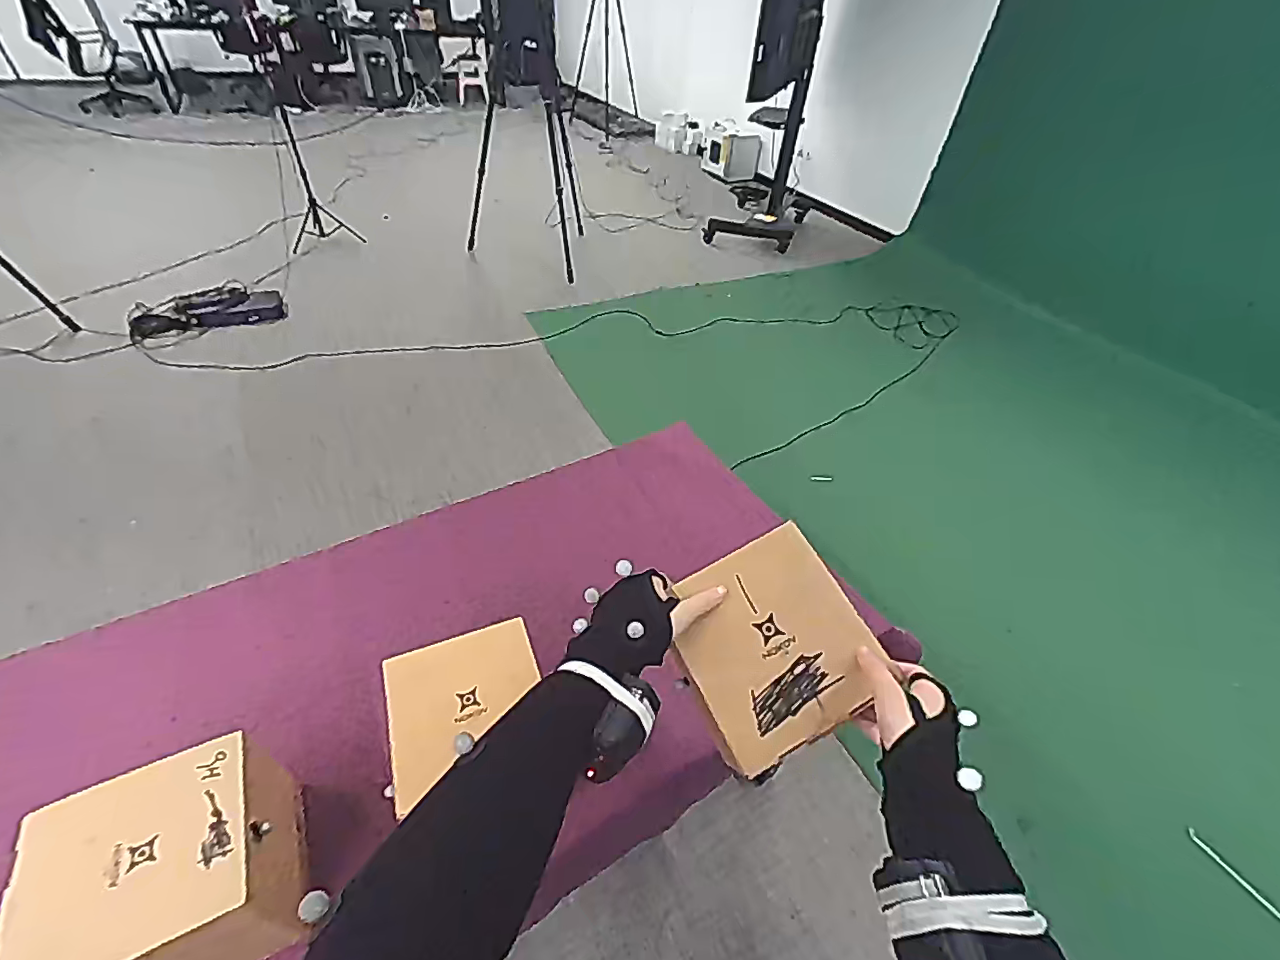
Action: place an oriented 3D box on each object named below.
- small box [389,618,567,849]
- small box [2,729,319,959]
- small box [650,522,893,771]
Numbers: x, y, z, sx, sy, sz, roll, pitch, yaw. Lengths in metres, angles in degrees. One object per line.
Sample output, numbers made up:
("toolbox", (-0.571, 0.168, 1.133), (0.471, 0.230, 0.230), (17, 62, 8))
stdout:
("small box", (-0.191, 0.303, 0.654), (0.168, 0.176, 0.179), (-14, 48, -19))
("small box", (-0.451, 0.391, 0.537), (0.179, 0.176, 0.168), (-19, 50, -22))
("small box", (0.123, 0.176, 0.578), (0.168, 0.176, 0.179), (-27, 68, -9))
